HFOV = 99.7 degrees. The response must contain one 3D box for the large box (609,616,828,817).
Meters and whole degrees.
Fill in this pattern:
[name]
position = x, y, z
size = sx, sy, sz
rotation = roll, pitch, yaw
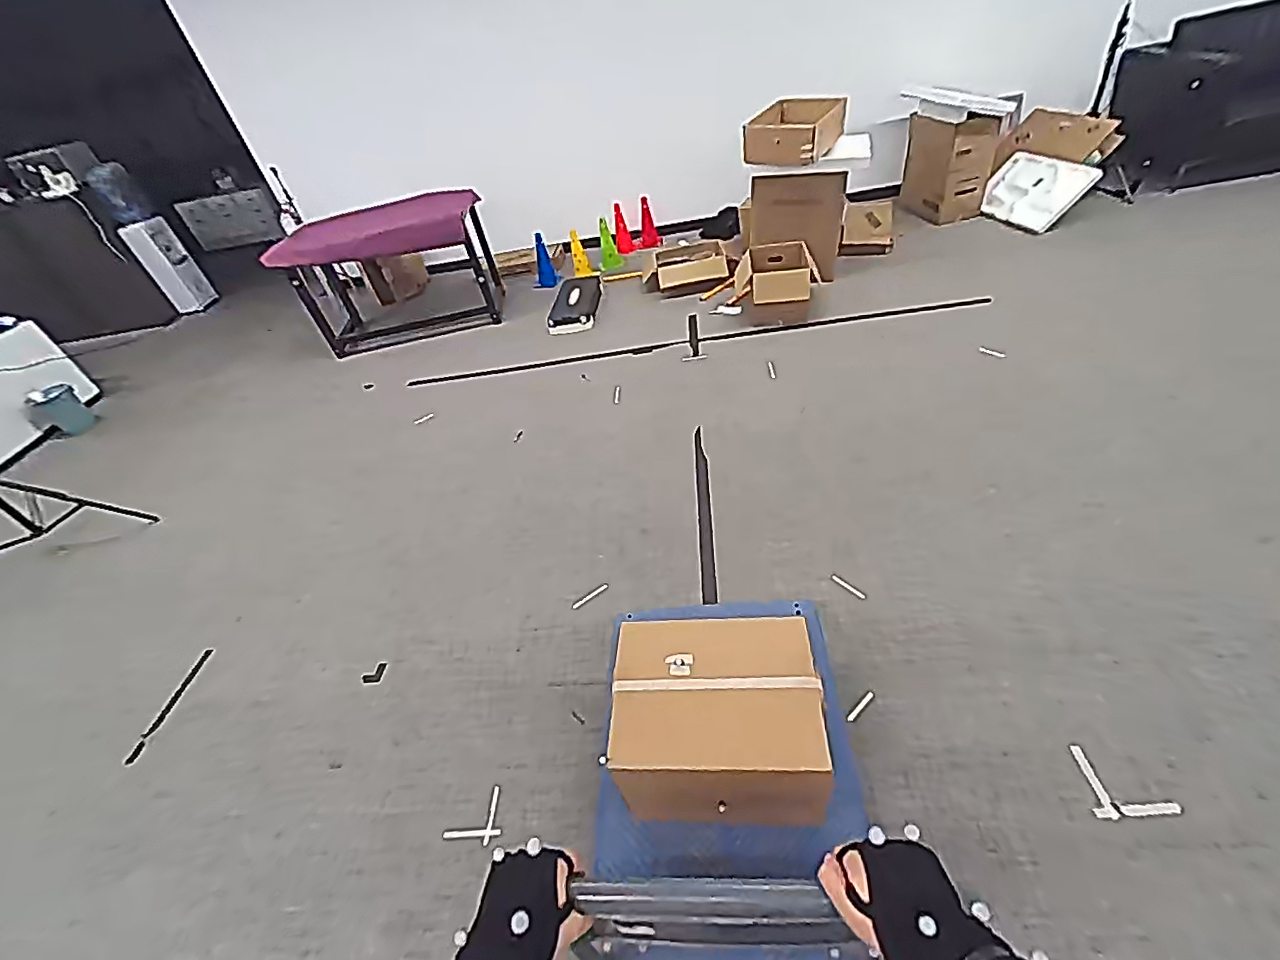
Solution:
[large box]
position = 0.172, 0.524, 1.188
size = 0.408, 0.320, 0.320
rotation = -5, 41, 9
